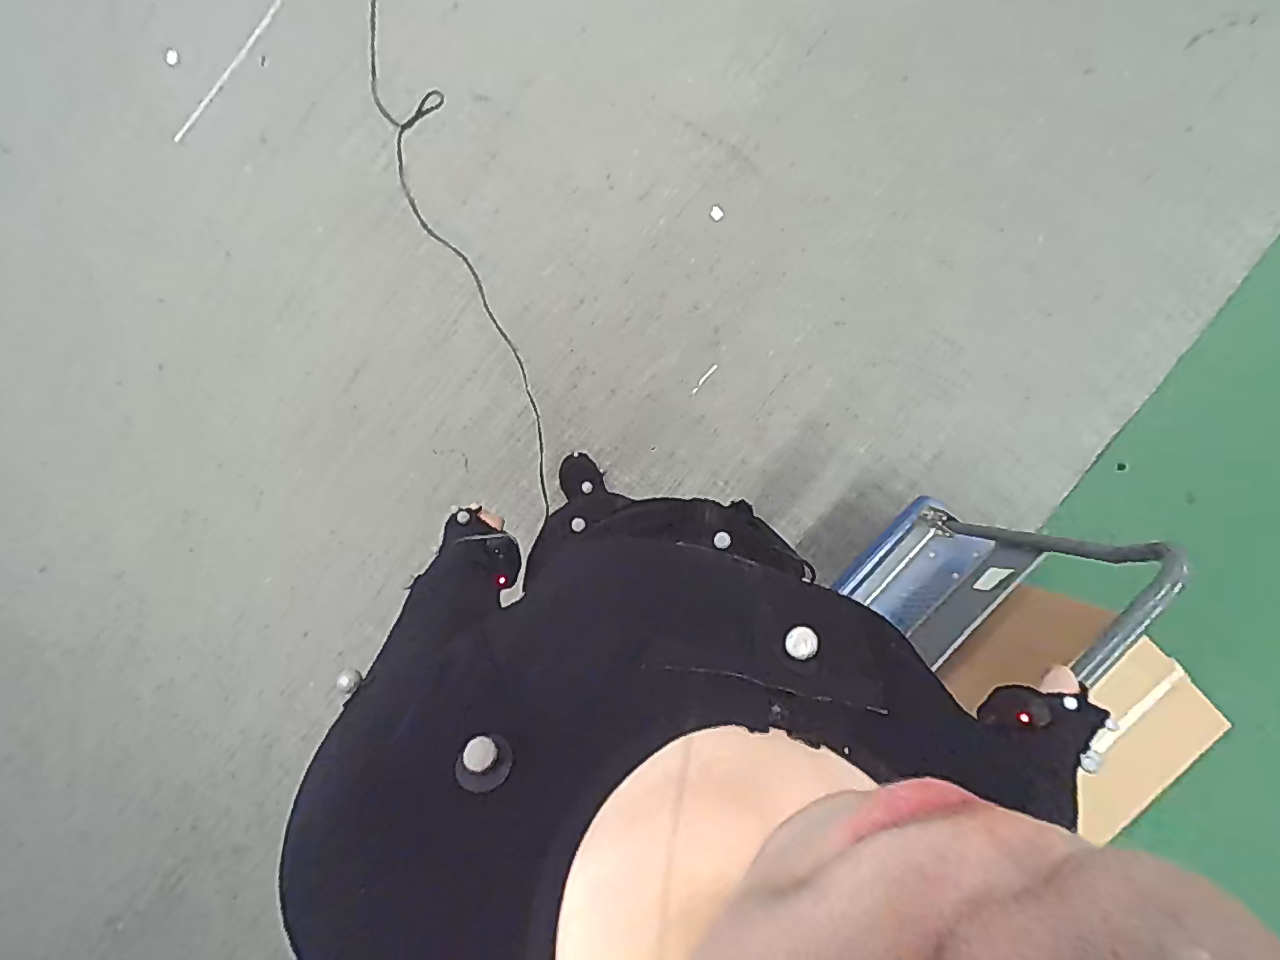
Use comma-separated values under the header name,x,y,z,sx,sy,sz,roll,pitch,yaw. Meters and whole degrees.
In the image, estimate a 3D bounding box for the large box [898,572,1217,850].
name,x,y,z,sx,sy,sz,roll,pitch,yaw
large box,0.883,0.475,1.200,0.320,0.320,0.408,45,92,-1
